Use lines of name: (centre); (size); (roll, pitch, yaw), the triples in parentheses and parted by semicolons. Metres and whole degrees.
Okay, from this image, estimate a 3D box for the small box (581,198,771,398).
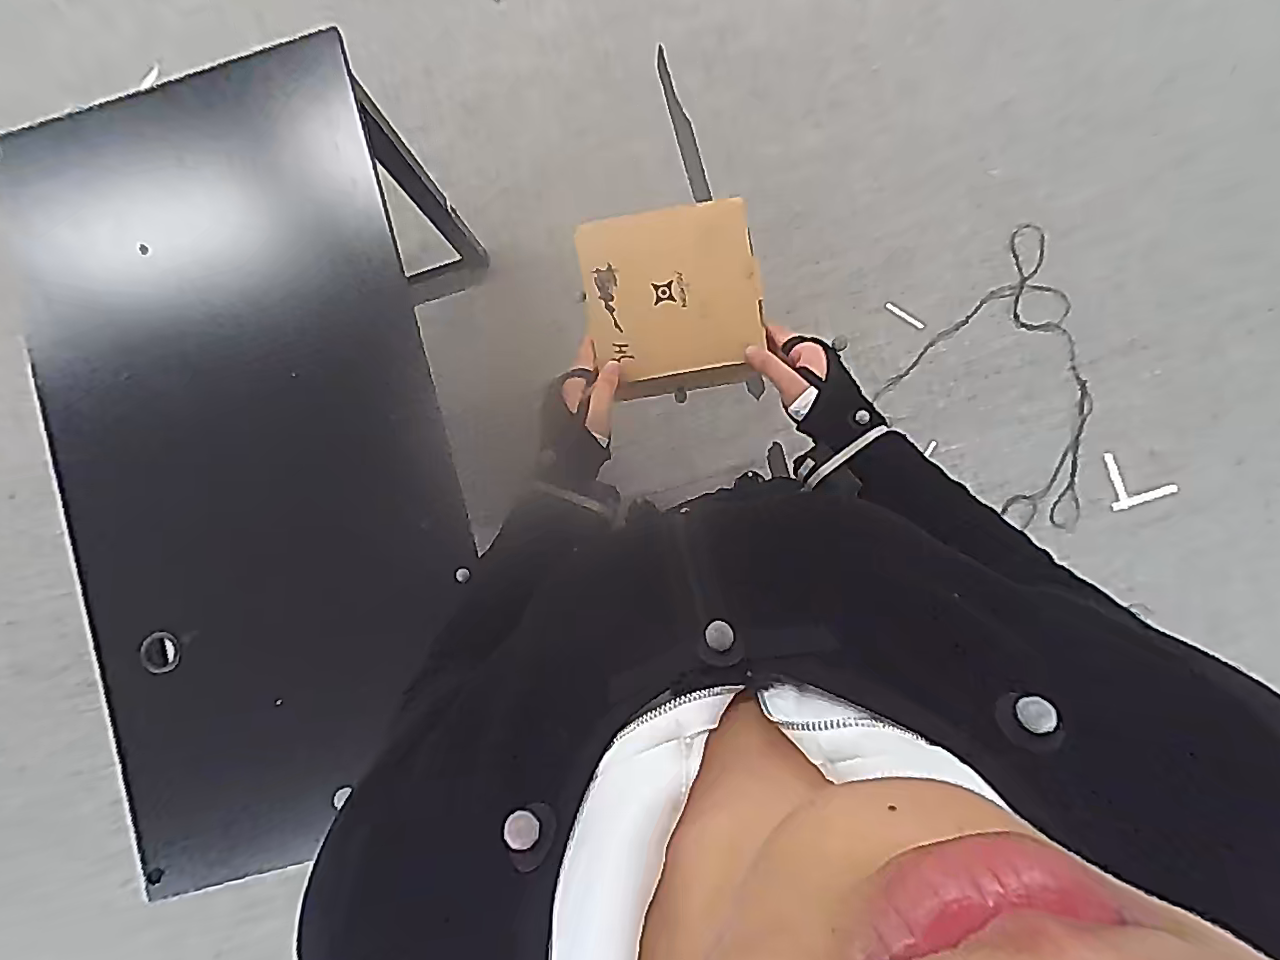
small box: (0.036, -0.195, 0.627); (0.179, 0.176, 0.168); (-9, 92, 1)
